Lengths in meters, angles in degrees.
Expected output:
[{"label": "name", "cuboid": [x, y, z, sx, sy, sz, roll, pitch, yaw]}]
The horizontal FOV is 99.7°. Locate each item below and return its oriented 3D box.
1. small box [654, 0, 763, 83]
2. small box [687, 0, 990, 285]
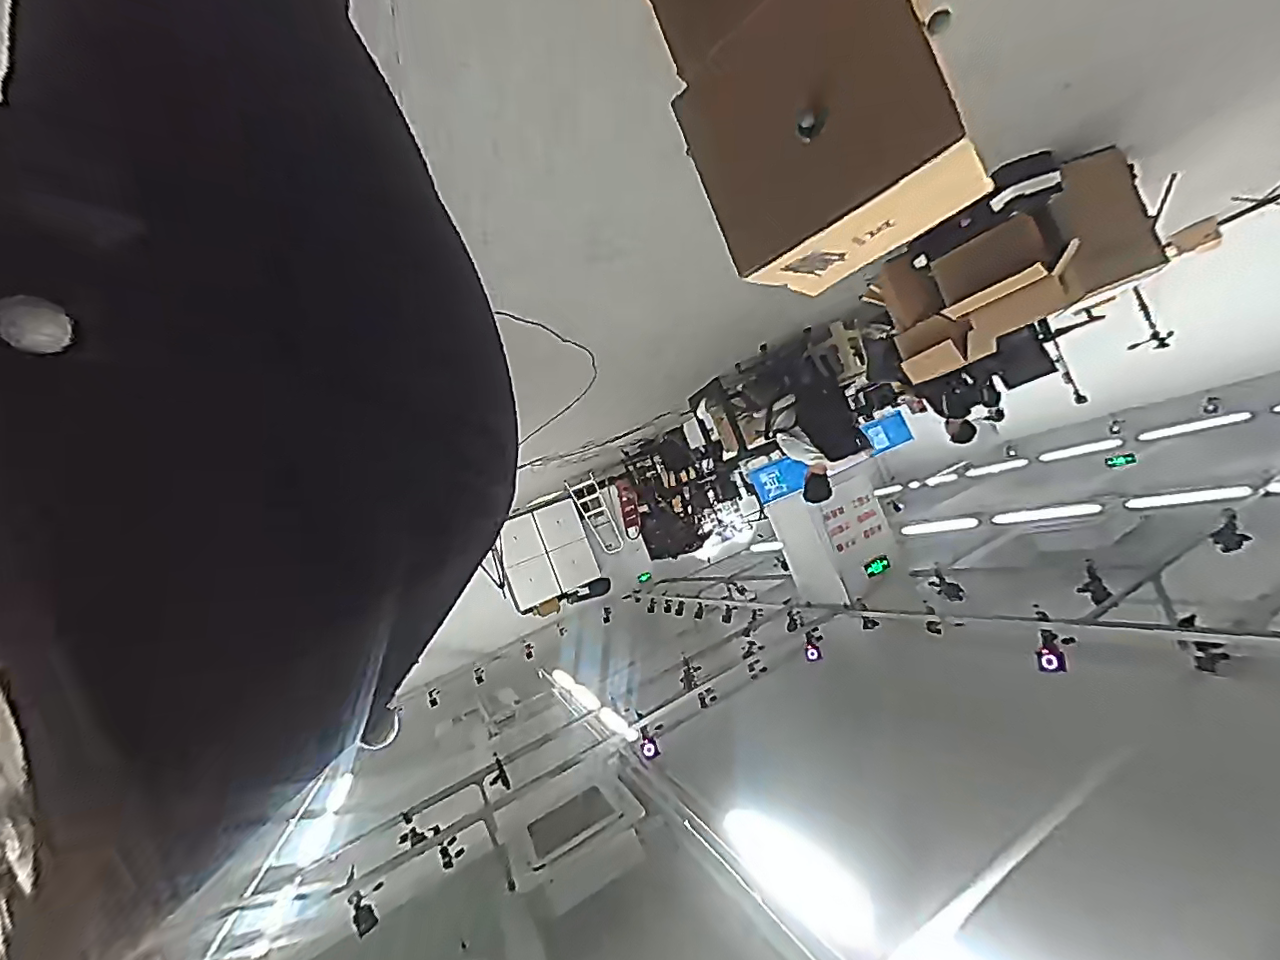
[{"label": "small box", "cuboid": [0.107, -0.446, 0.451, 0.179, 0.176, 0.168, -21, 178, 35]}, {"label": "small box", "cuboid": [0.159, -0.289, 0.457, 0.179, 0.176, 0.168, -22, 178, 43]}]
